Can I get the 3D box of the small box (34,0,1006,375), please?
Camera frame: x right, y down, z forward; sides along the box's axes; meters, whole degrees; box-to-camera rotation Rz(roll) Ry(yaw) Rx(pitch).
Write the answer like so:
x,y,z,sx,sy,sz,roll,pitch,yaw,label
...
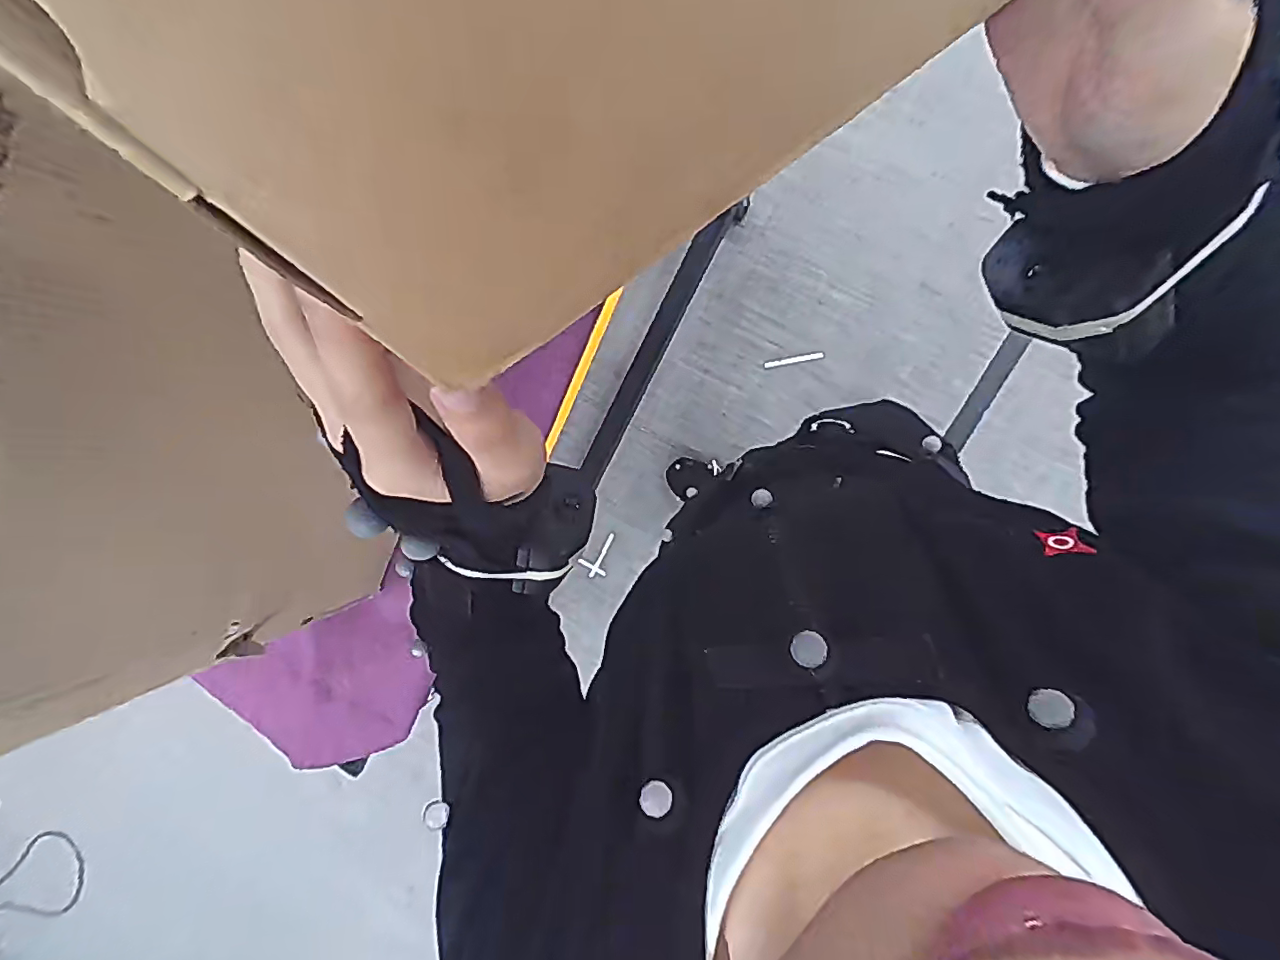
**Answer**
x,y,z,sx,sy,sz,roll,pitch,yaw,label
-0.036,-0.162,0.098,0.179,0.168,0.176,-34,60,4,small box
